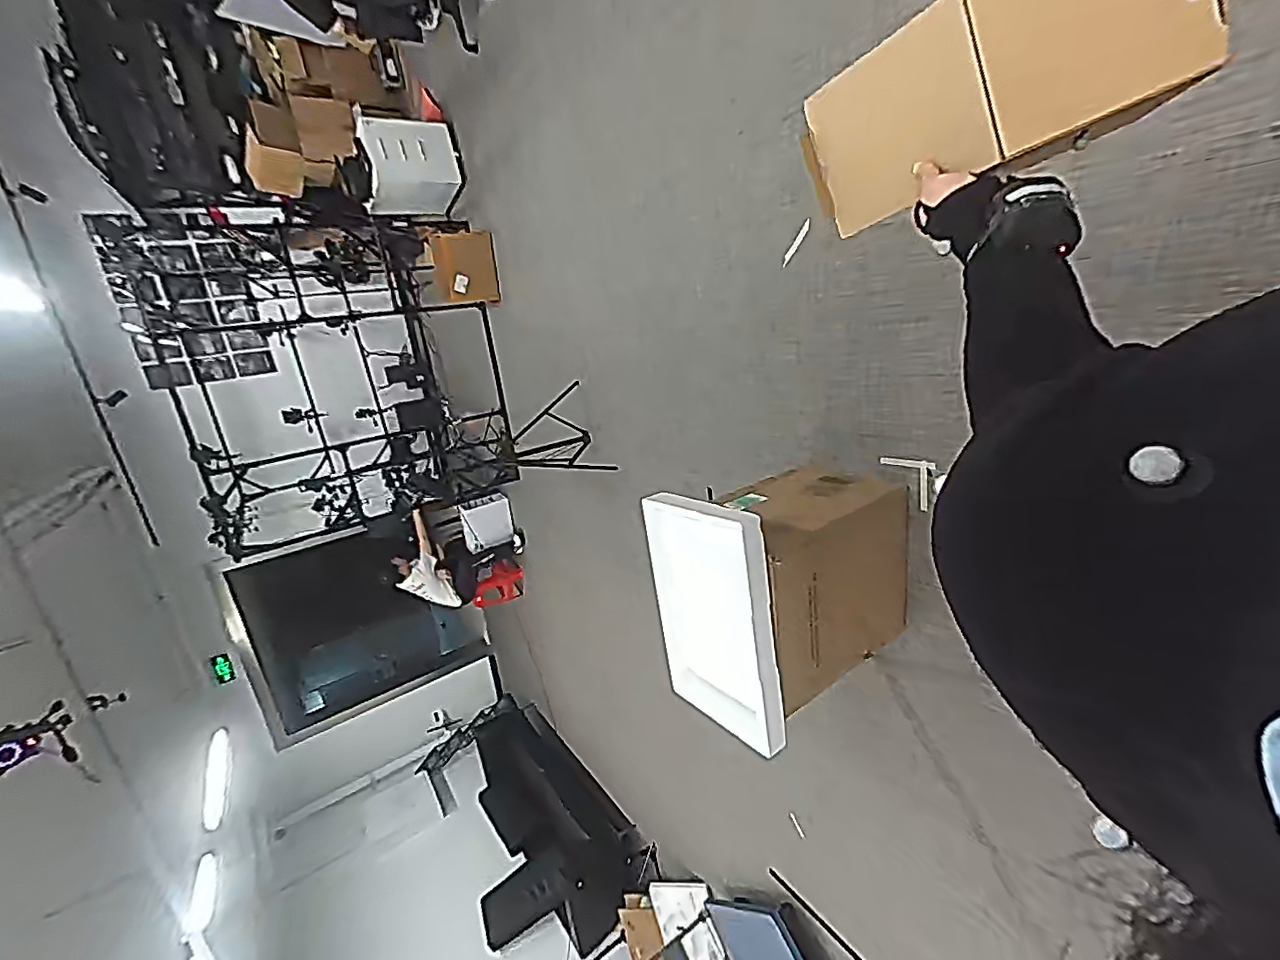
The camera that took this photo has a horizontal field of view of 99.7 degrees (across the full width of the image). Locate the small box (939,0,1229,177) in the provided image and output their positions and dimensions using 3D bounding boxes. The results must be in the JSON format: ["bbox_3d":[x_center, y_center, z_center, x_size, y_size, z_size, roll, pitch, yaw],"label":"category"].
[{"bbox_3d":[0.418,-0.437,0.545,0.179,0.176,0.168,-17,102,25],"label":"small box"}]
